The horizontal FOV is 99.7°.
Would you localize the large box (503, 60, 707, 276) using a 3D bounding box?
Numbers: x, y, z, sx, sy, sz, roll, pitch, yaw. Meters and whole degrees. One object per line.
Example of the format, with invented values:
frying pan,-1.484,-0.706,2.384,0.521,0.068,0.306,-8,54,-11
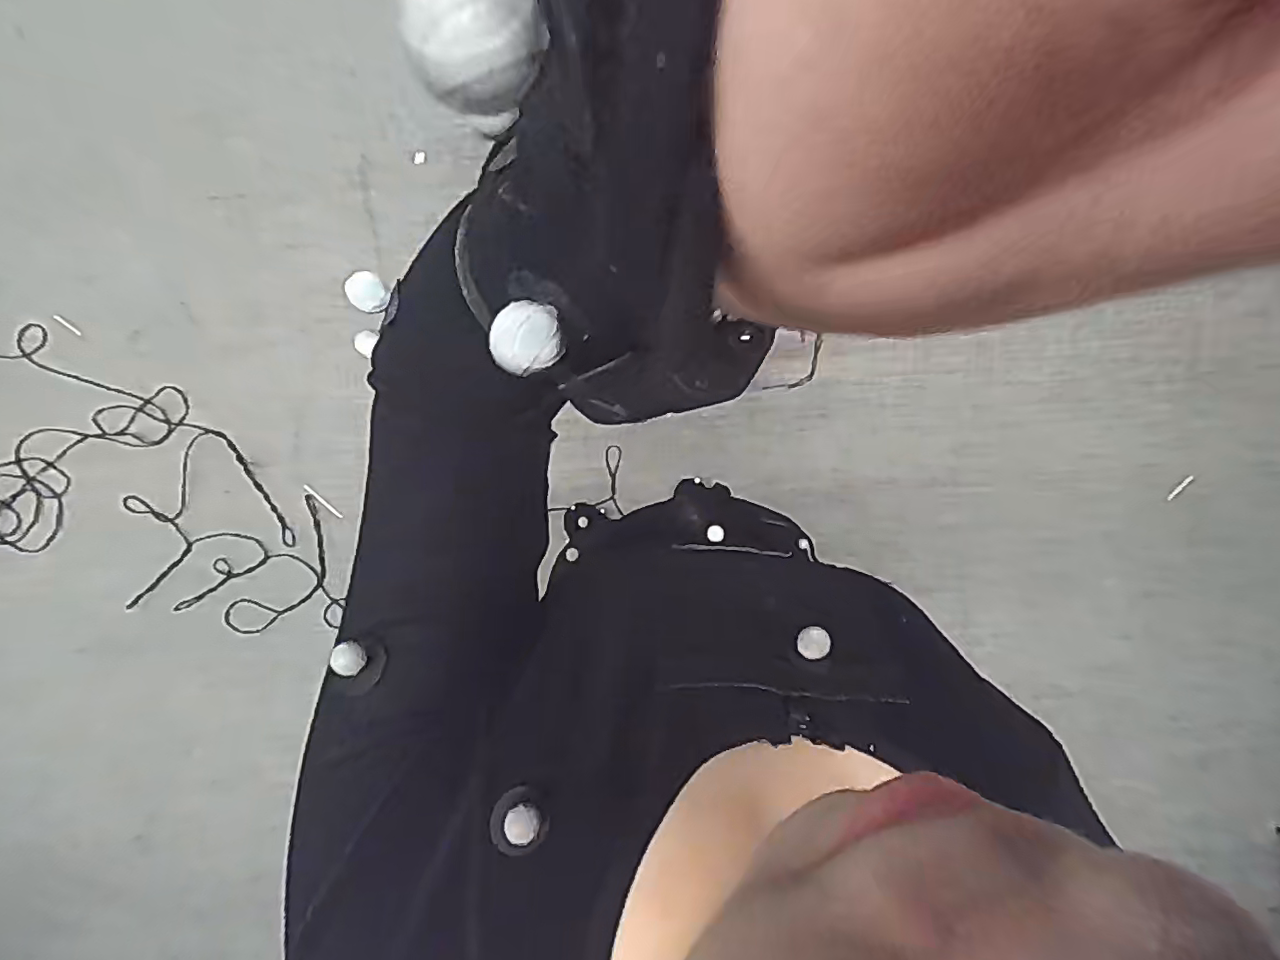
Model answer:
large box,-0.074,-0.670,1.215,0.408,0.320,0.320,2,90,-1
